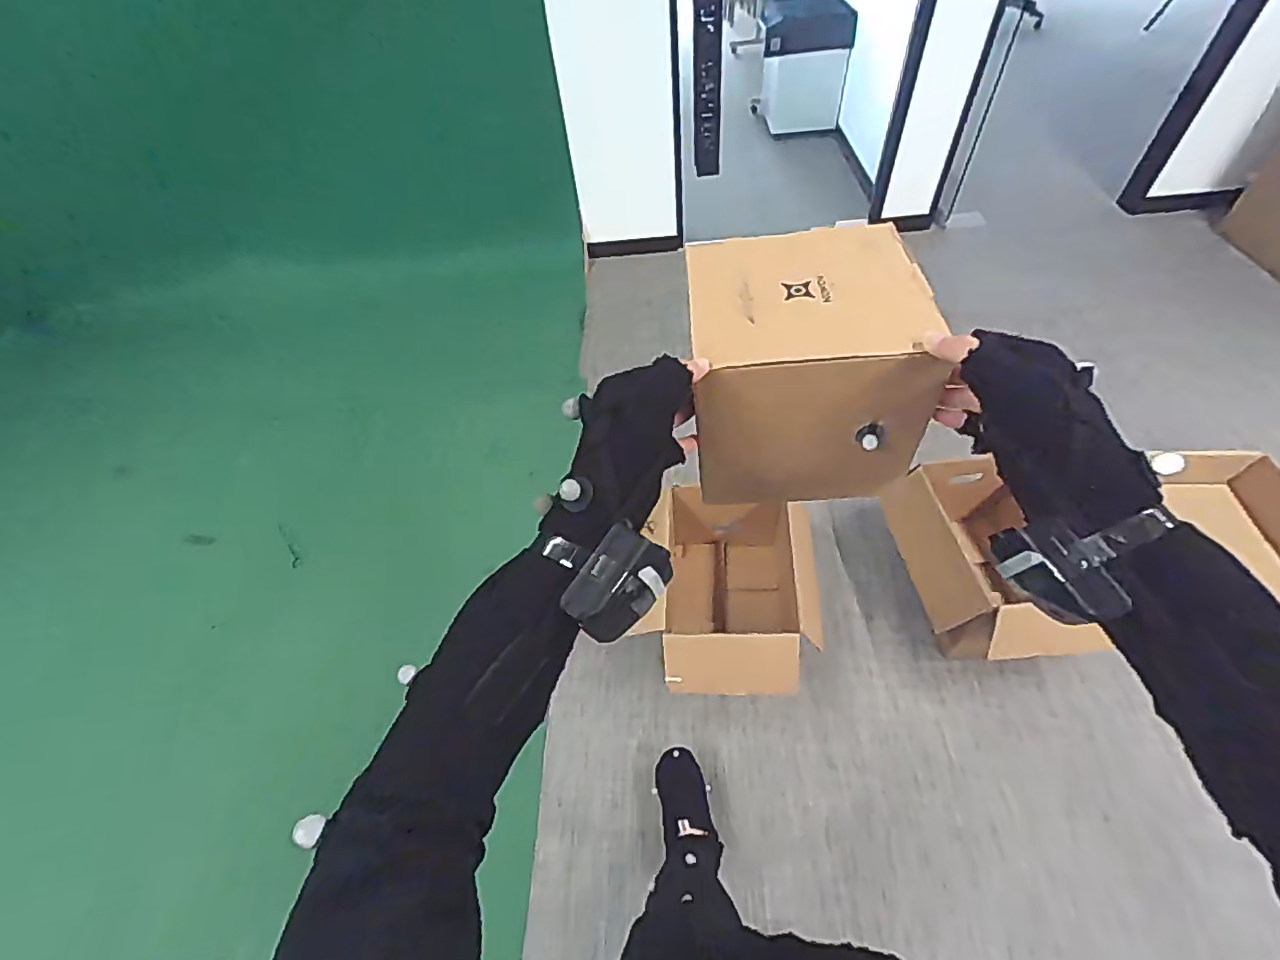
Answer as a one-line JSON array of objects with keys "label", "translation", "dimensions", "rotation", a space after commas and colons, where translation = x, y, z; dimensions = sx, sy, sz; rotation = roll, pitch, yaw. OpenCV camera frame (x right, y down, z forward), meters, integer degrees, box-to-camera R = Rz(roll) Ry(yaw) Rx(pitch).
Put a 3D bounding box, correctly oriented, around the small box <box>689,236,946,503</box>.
[{"label": "small box", "translation": [0.135, -0.092, 0.488], "dimensions": [0.179, 0.176, 0.168], "rotation": [-3, 51, 6]}]
